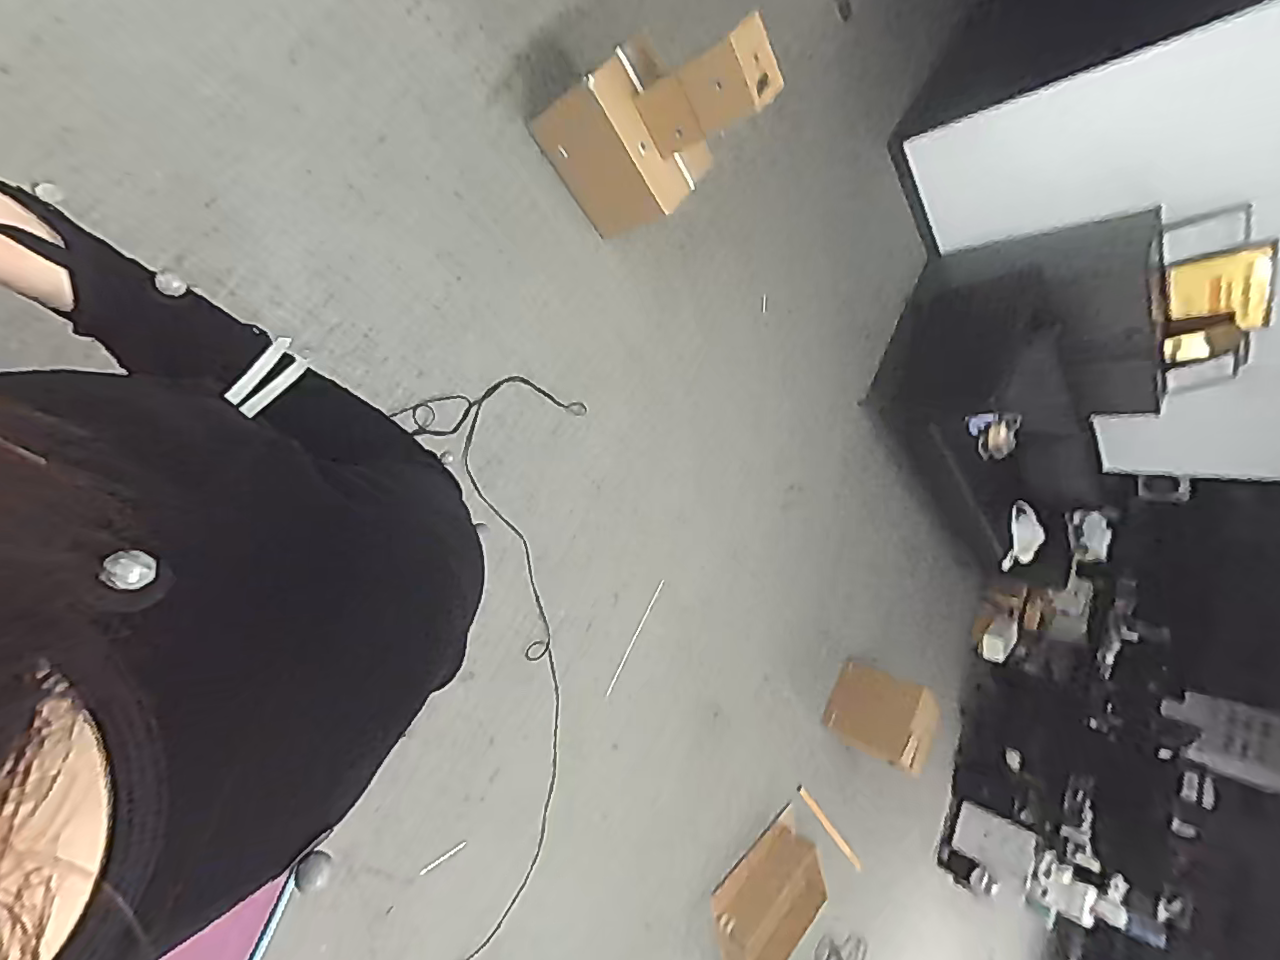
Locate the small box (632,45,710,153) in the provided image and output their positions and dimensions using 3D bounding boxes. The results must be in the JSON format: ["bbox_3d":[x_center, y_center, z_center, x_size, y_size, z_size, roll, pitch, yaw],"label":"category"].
[{"bbox_3d":[0.113,-1.047,1.507,0.179,0.176,0.168,51,60,-32],"label":"small box"}]

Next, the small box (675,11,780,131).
[{"bbox_3d":[0.224,-1.034,1.386,0.179,0.176,0.168,52,59,-31],"label":"small box"}]
